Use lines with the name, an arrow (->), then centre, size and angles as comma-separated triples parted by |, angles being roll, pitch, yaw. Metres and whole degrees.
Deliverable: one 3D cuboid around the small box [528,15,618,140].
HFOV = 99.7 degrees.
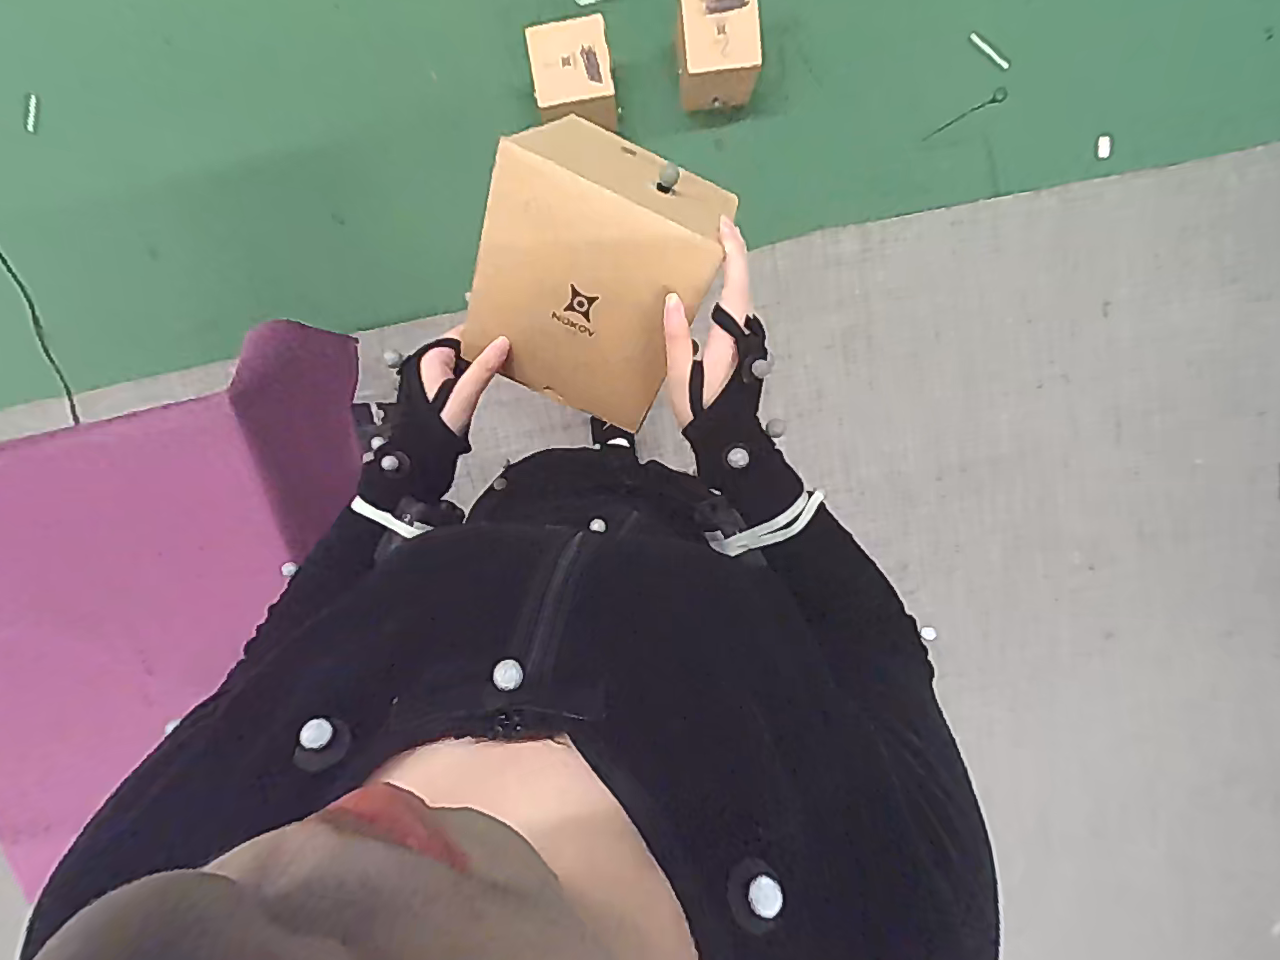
small box -> -0.148, -0.934, 1.268 | 0.179, 0.176, 0.168 | -8, 98, 3
